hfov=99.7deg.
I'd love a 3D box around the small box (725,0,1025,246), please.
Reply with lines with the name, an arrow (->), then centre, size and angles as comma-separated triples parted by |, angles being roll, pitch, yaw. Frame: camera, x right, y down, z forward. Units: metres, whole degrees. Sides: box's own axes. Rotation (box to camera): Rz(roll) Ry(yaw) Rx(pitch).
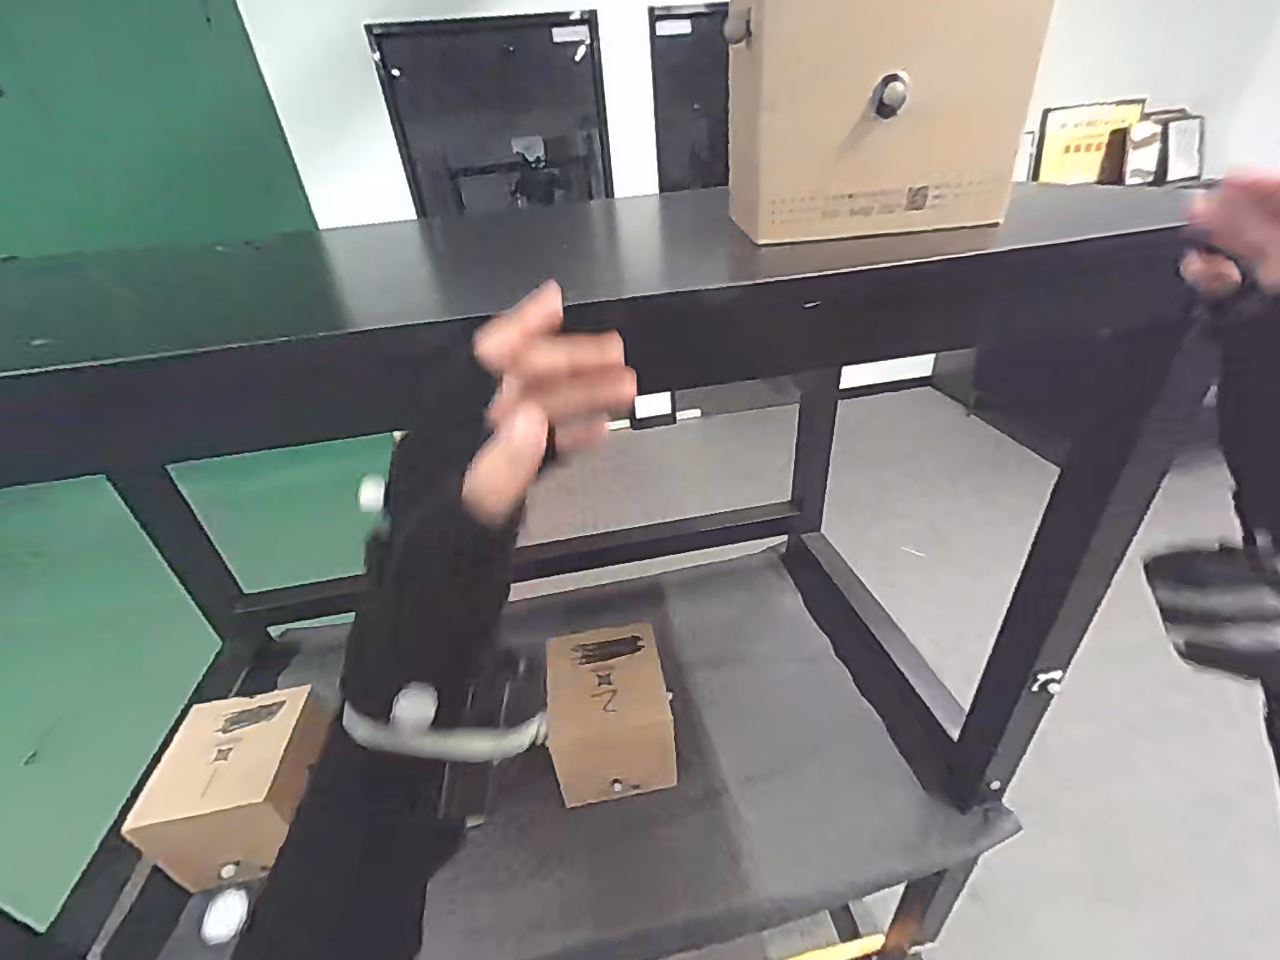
small box -> 0.156, -0.279, 0.412 | 0.168, 0.176, 0.179 | -3, 31, 4

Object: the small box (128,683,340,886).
small box -> -0.543, 0.425, 0.766 | 0.168, 0.176, 0.179 | -9, 32, -6

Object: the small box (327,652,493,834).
small box -> -0.320, 0.389, 0.798 | 0.168, 0.176, 0.179 | -8, 31, -5
